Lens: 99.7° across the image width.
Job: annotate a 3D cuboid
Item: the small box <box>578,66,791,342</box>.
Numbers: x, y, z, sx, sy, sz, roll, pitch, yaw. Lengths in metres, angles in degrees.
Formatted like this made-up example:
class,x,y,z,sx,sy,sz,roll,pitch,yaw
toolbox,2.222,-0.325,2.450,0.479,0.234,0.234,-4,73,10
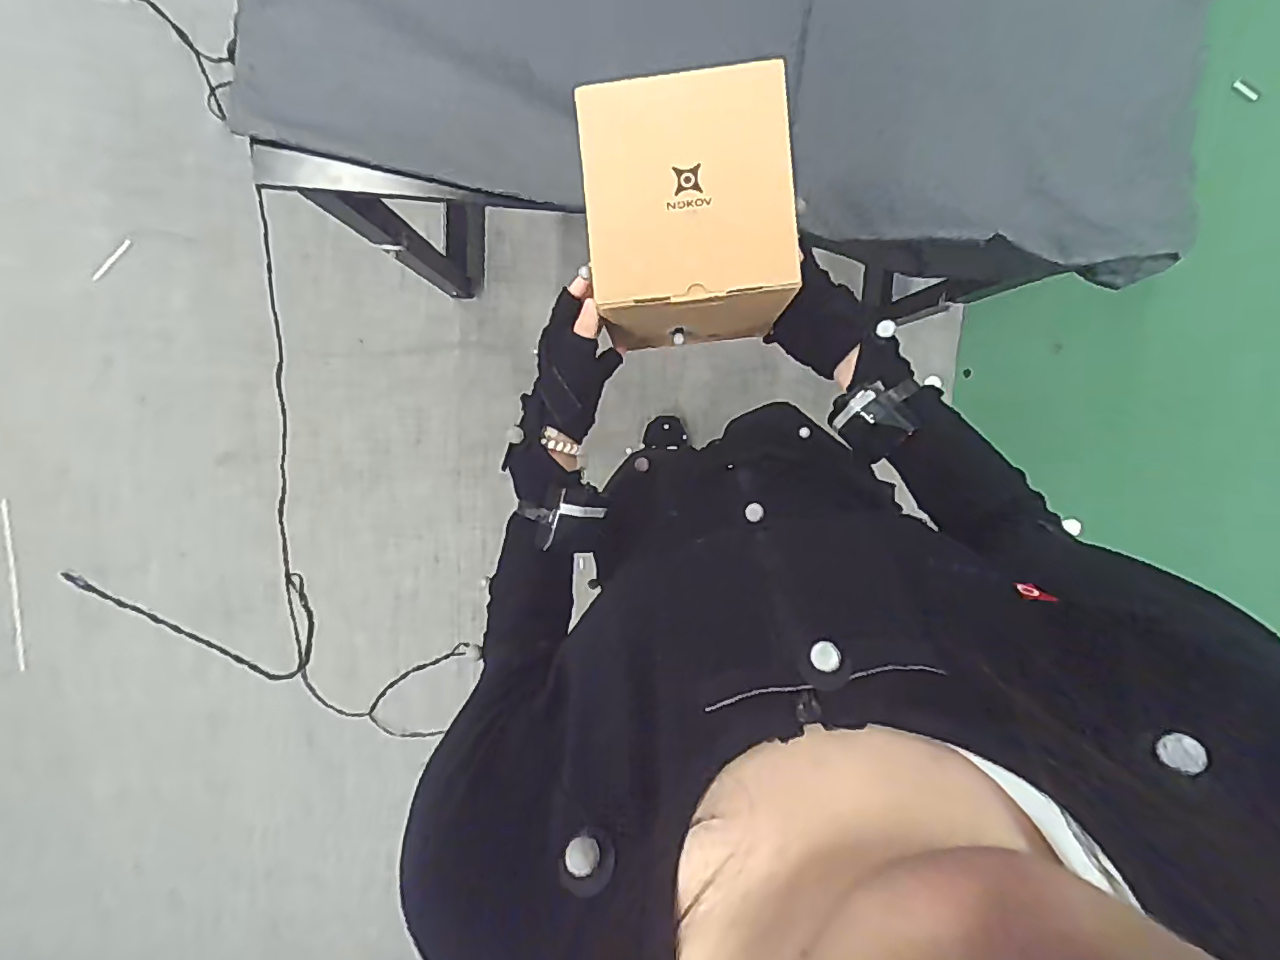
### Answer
class,x,y,z,sx,sy,sz,roll,pitch,yaw
small box,0.039,-0.242,0.518,0.168,0.176,0.179,-5,93,3
